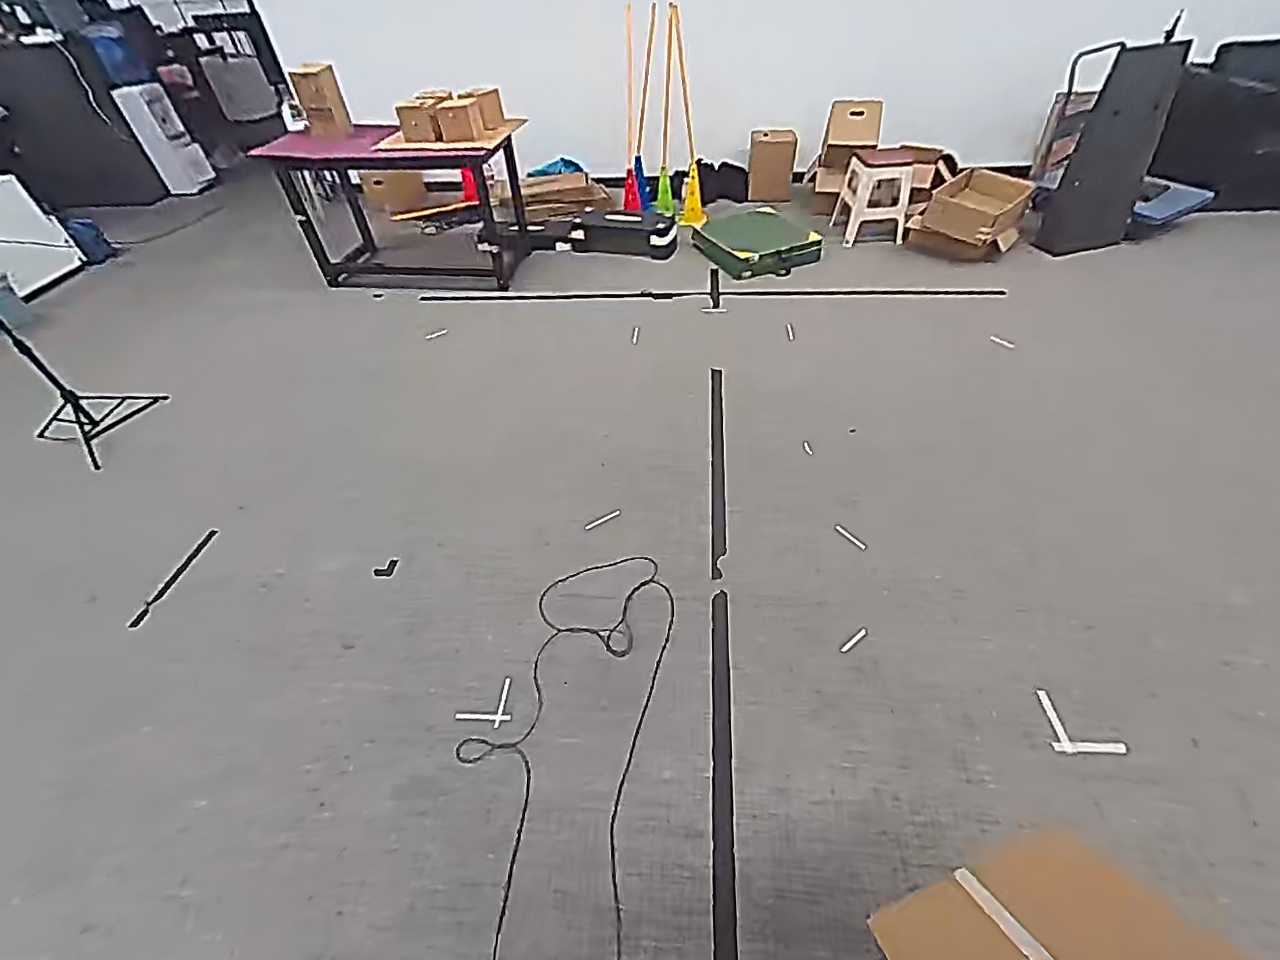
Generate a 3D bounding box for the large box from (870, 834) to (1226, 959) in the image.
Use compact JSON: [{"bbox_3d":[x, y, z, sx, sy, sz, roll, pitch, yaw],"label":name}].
[{"bbox_3d":[0.533,0.700,0.583,0.320,0.408,0.320,-26,86,-3],"label":"large box"}]
